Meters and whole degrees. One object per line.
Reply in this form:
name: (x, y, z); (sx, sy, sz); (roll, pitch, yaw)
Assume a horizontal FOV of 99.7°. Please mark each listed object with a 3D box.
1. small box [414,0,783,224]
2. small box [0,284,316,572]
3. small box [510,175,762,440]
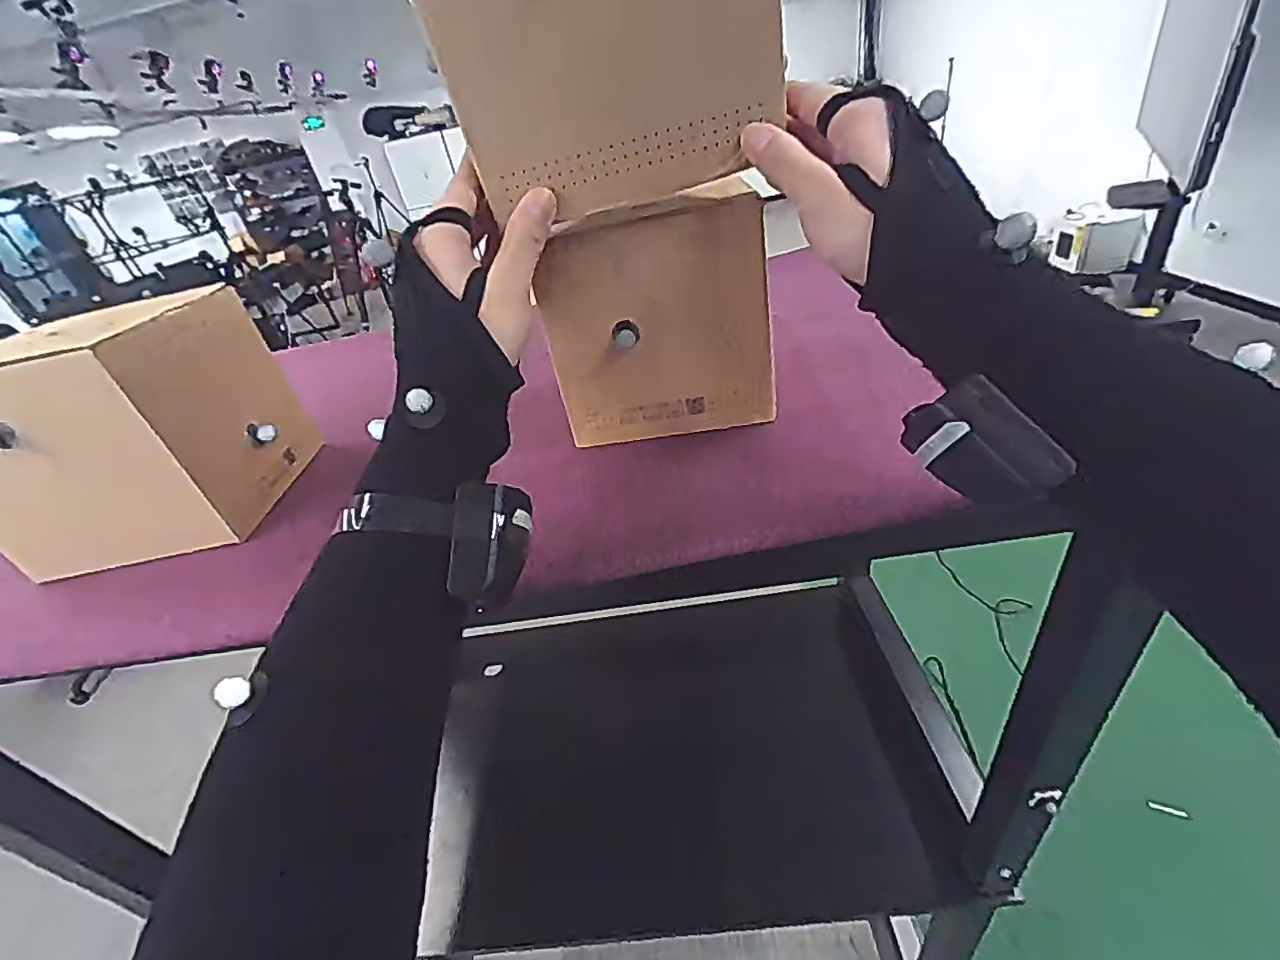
small box: (-0.025, -0.272, 0.317); (0.179, 0.176, 0.168); (-12, 42, 6)
small box: (-0.422, -0.044, 0.452); (0.179, 0.176, 0.168); (-11, 34, 2)
small box: (0.011, -0.143, 0.464); (0.168, 0.176, 0.179); (-6, 34, 9)
